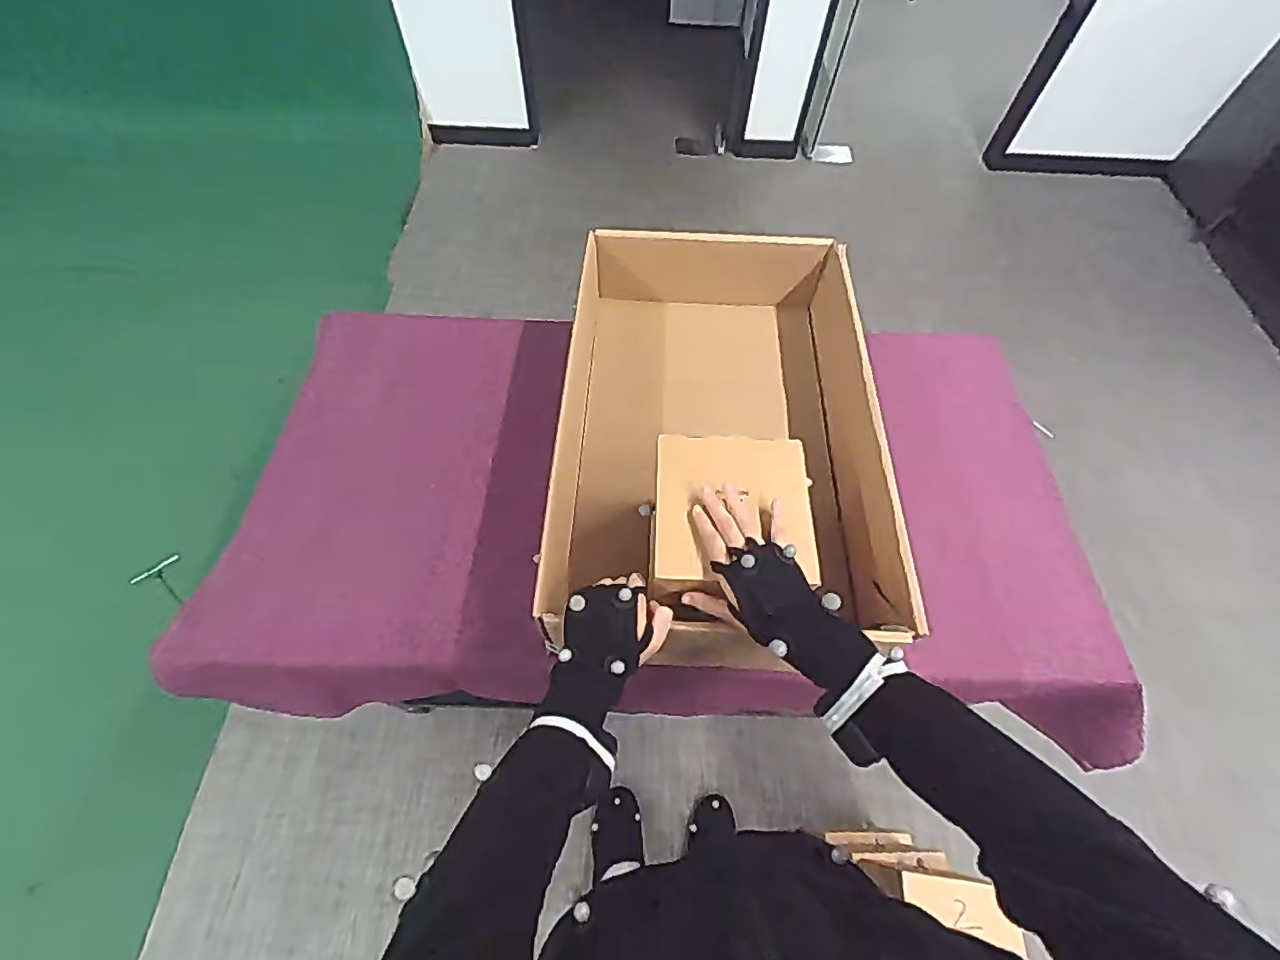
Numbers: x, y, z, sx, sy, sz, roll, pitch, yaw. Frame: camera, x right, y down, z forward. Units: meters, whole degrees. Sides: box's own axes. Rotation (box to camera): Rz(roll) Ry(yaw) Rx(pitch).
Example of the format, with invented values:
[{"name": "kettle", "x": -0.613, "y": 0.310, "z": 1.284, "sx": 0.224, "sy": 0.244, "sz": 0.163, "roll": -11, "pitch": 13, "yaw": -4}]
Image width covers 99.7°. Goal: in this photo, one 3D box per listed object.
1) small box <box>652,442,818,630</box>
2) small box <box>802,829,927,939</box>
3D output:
[{"name": "small box", "x": 0.100, "y": 0.073, "z": 0.645, "sx": 0.168, "sy": 0.176, "sz": 0.179, "roll": 1, "pitch": 60, "yaw": 1}, {"name": "small box", "x": 0.455, "y": 0.828, "z": 1.122, "sx": 0.179, "sy": 0.176, "sz": 0.168, "roll": 0, "pitch": 60, "yaw": 0}]
